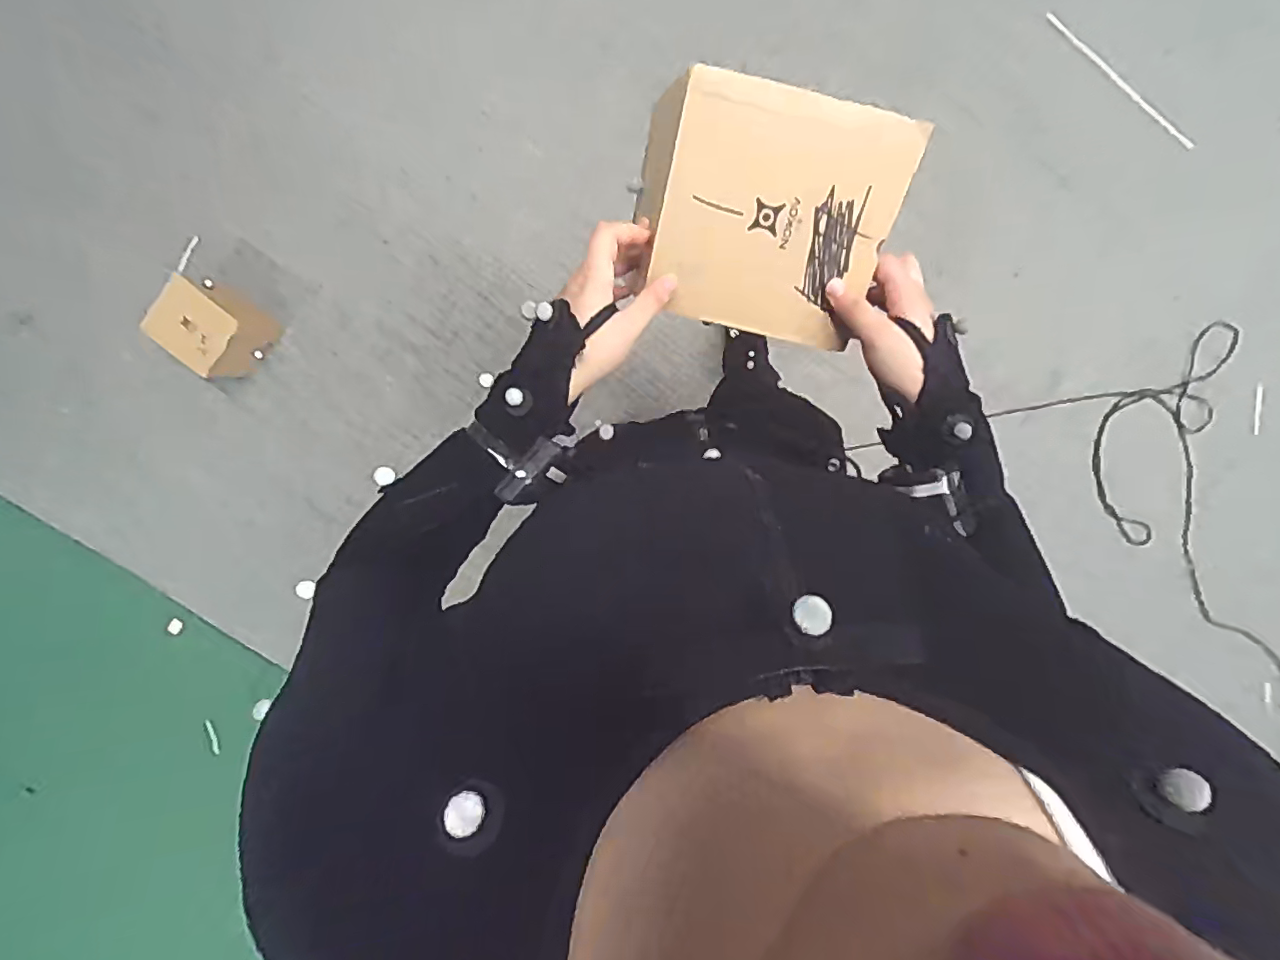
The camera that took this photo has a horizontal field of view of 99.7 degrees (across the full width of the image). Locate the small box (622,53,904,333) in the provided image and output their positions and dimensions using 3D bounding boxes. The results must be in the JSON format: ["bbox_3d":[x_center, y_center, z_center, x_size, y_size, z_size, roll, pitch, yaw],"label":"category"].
[{"bbox_3d":[0.090,-0.248,0.493,0.179,0.176,0.168,8,115,-12],"label":"small box"}]

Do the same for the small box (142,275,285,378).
[{"bbox_3d":[-1.023,-0.364,1.312,0.179,0.176,0.168,41,100,-8],"label":"small box"}]
